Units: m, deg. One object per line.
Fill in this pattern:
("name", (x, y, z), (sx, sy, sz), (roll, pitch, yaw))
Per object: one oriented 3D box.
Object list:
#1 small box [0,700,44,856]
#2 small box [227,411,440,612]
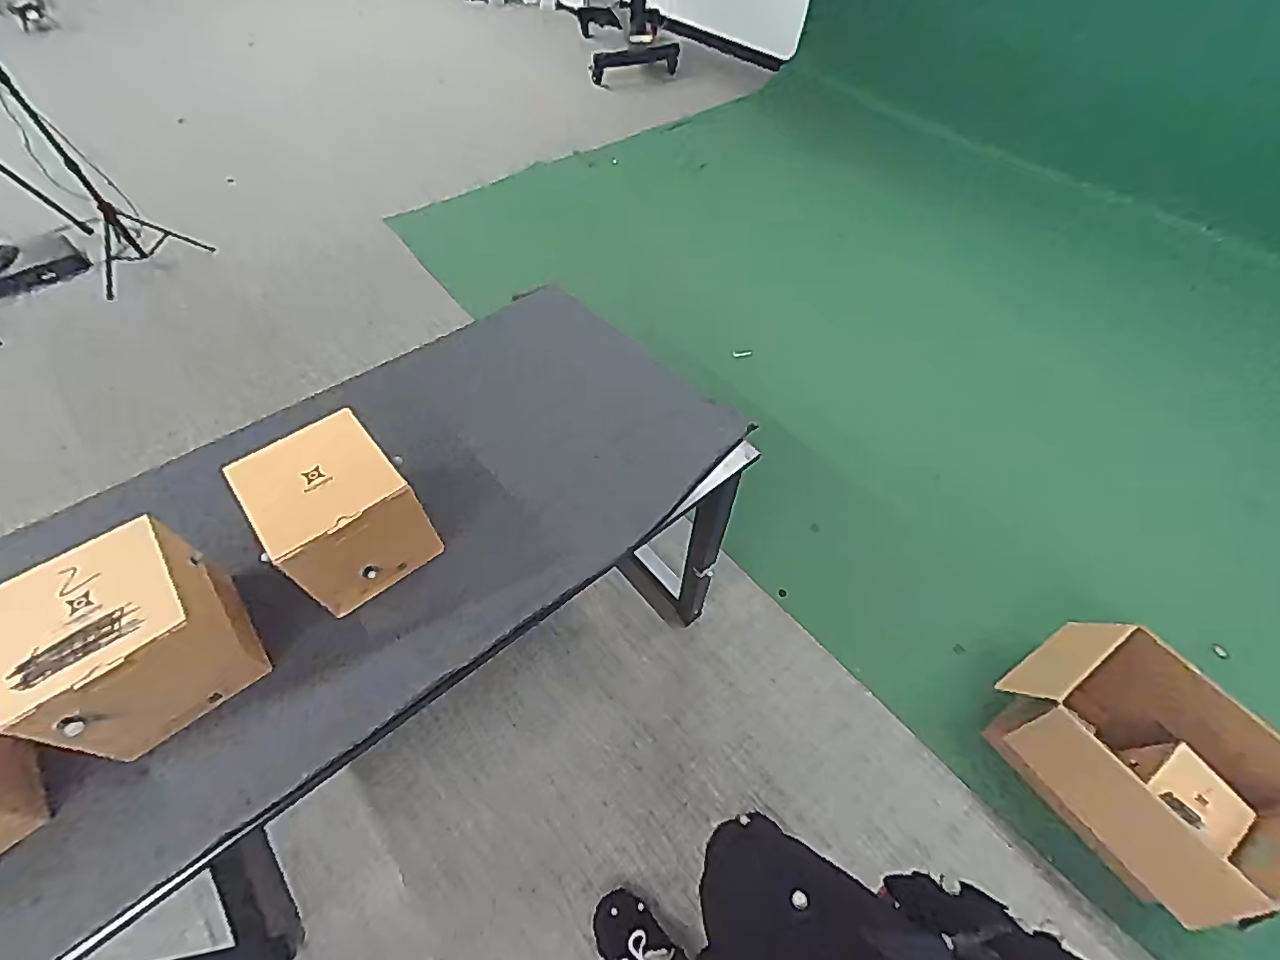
("small box", (-0.754, 0.311, 0.524), (0.168, 0.176, 0.179), (-35, 61, -25))
("small box", (-0.403, 0.046, 0.735), (0.168, 0.176, 0.179), (-35, 63, -24))
